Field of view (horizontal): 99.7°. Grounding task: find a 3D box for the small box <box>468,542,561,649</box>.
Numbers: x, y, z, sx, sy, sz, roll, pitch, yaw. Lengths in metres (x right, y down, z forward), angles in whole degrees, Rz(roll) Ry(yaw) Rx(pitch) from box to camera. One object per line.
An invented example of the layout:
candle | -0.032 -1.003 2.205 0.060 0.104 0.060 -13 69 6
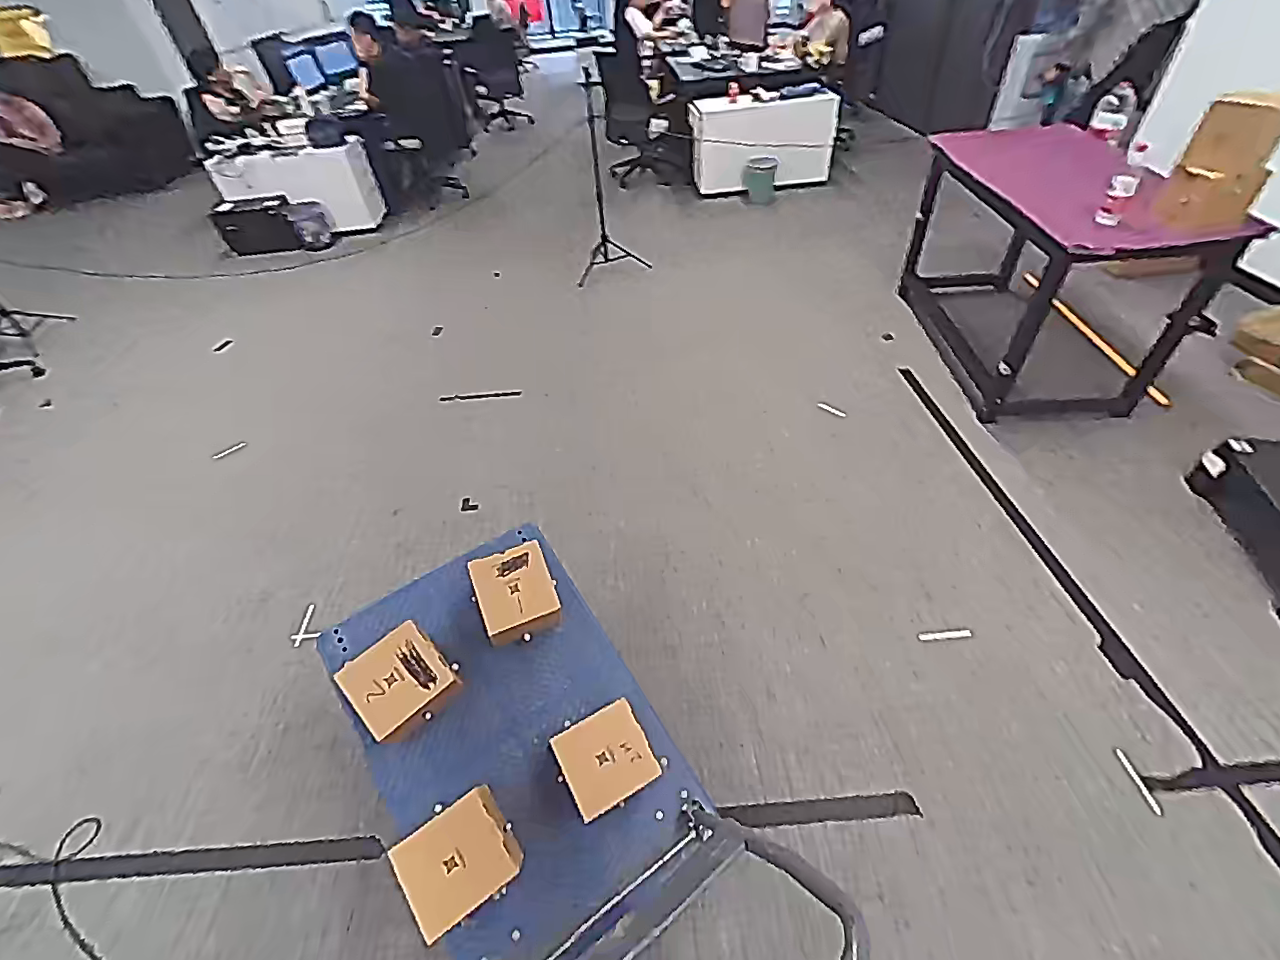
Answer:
small box | -0.295 0.276 1.273 0.168 0.176 0.179 -18 68 -18

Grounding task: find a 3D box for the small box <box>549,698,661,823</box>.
small box | -0.078 0.589 1.144 0.179 0.176 0.168 -24 69 -20

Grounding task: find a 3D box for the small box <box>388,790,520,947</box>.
small box | -0.343 0.724 1.032 0.179 0.176 0.168 -30 71 -23
